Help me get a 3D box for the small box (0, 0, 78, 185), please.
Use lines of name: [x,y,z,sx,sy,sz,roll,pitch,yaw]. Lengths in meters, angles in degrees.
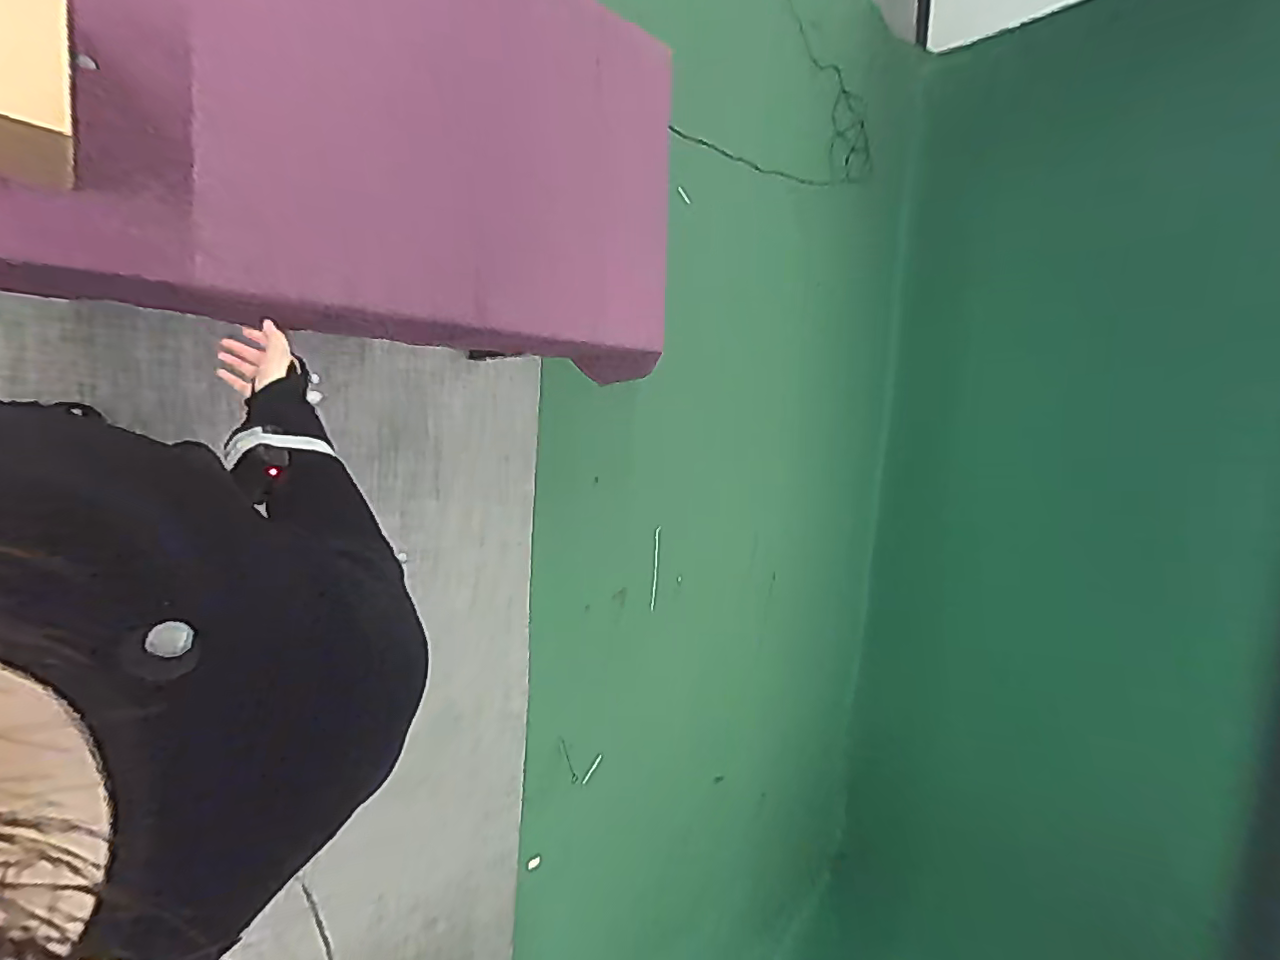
small box: [-0.557,-0.360,0.419,0.168,0.176,0.179,-3,98,-46]
